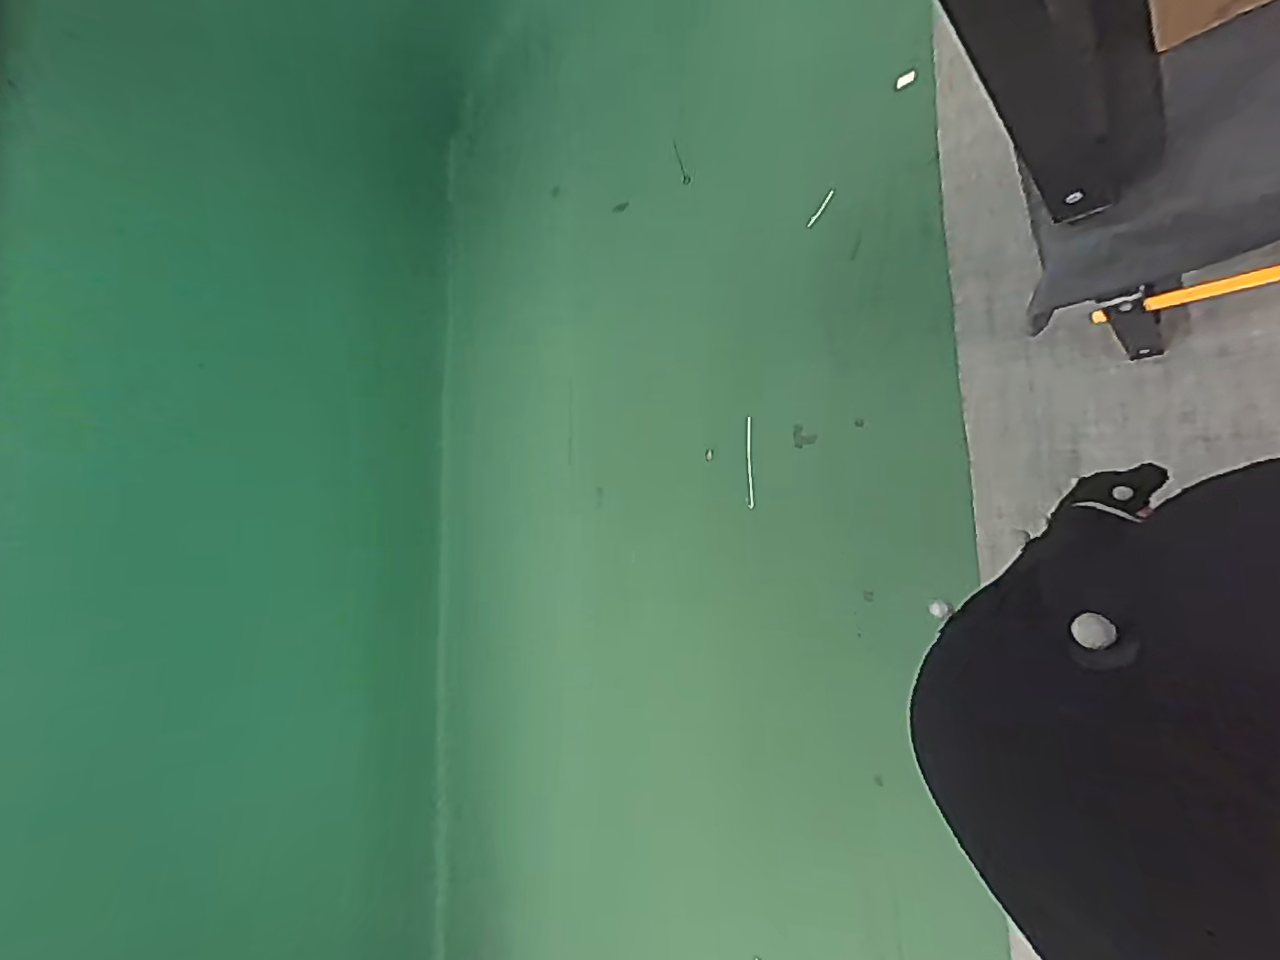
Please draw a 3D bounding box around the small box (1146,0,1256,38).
[{"bbox_3d":[0.565,-0.573,0.492,0.168,0.176,0.179,-8,82,46],"label":"small box"}]
